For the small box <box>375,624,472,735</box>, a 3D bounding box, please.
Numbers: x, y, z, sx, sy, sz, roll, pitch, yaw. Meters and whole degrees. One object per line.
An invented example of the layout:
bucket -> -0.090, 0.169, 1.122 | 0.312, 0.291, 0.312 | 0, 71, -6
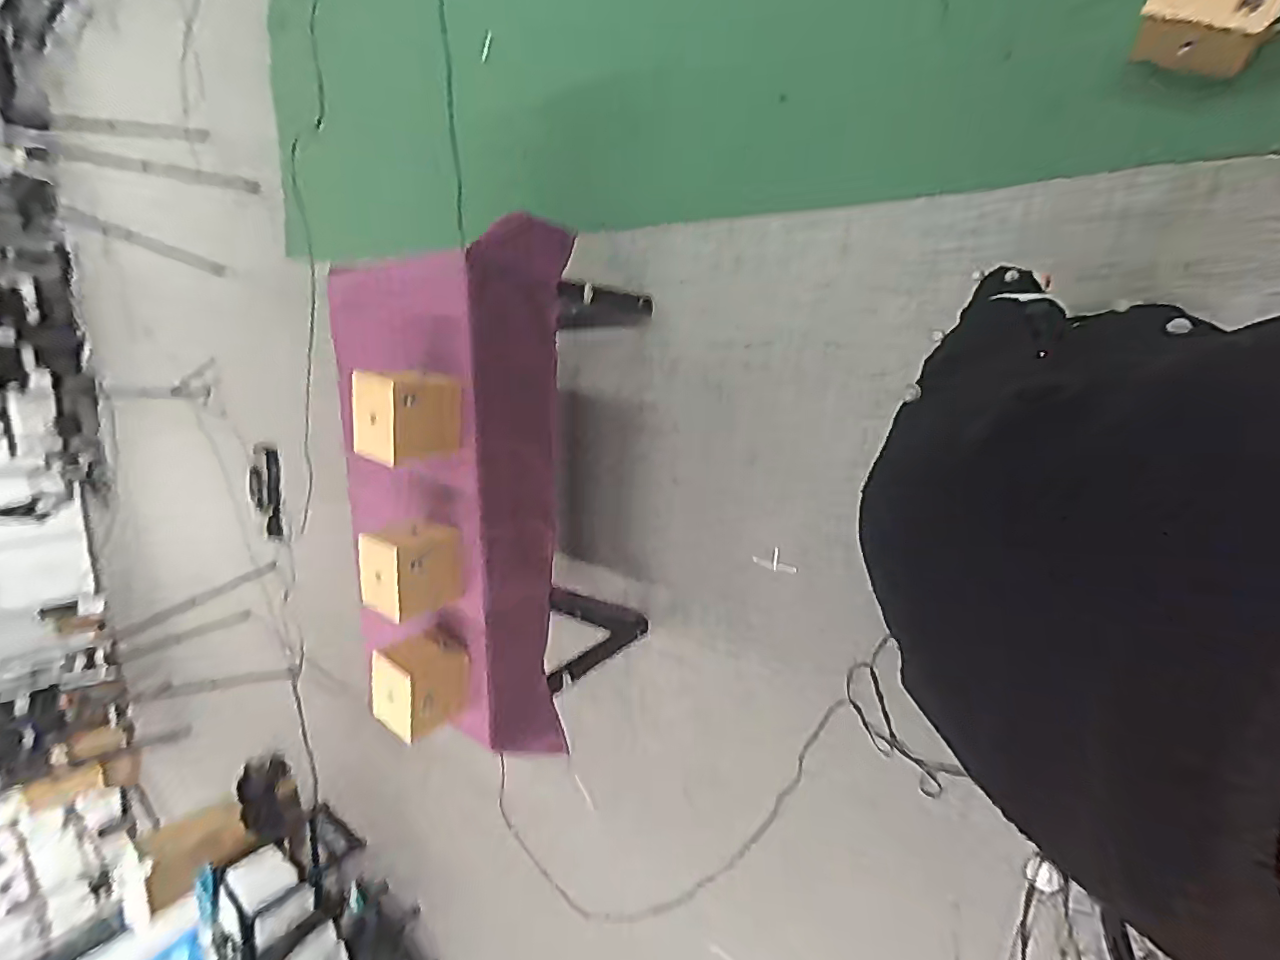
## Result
small box -> -0.544, 0.494, 1.366 | 0.168, 0.176, 0.179 | 17, 107, 32

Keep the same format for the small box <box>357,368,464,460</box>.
small box -> -0.519, -0.156, 1.230 | 0.168, 0.176, 0.179 | 16, 107, 33

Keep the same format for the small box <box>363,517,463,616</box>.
small box -> -0.546, 0.199, 1.312 | 0.168, 0.176, 0.179 | 12, 106, 35
